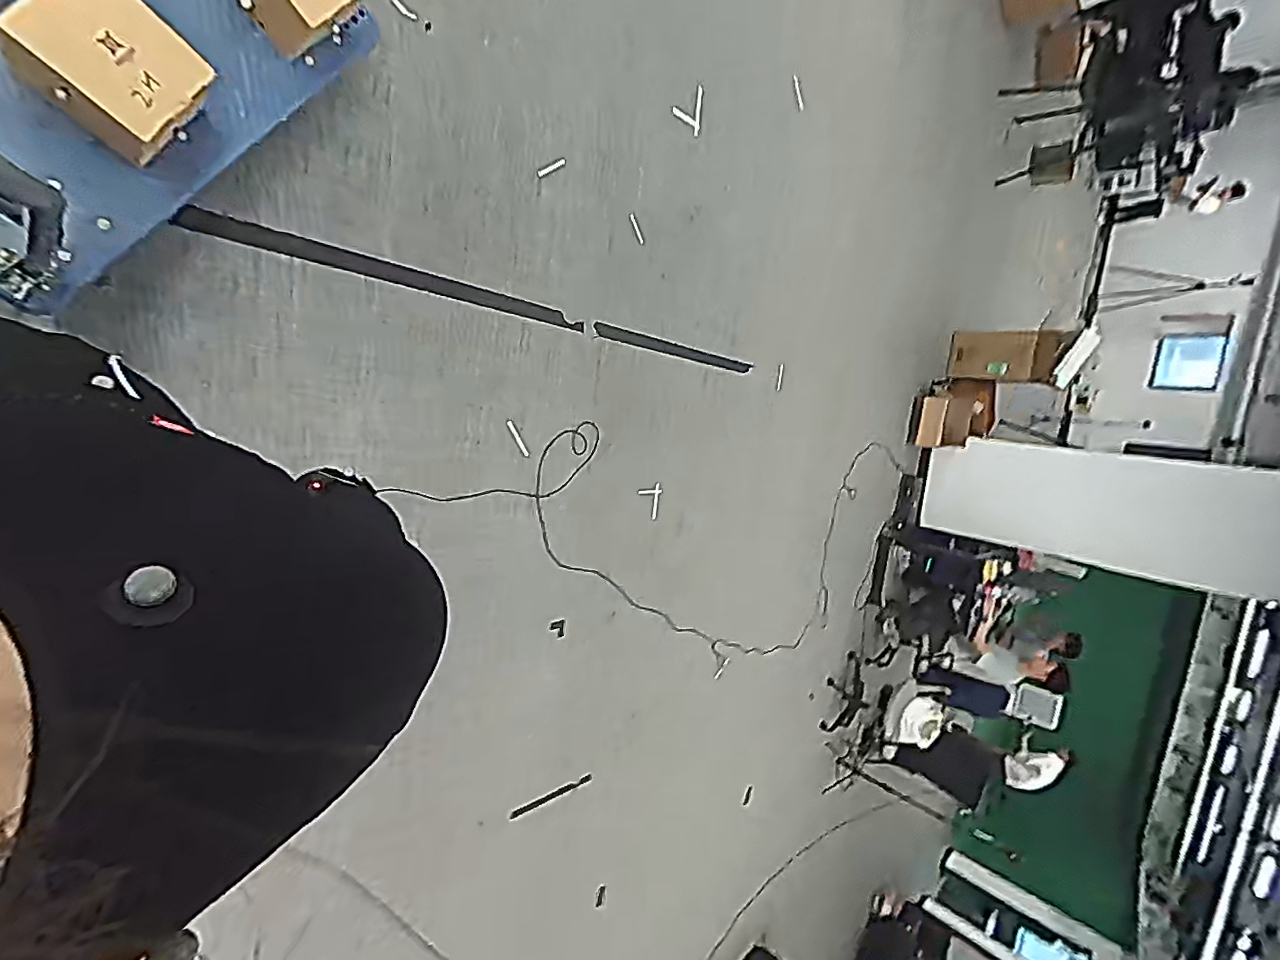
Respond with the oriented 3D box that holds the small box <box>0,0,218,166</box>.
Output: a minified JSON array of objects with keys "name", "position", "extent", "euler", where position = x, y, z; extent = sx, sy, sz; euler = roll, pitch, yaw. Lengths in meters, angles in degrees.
[{"name":"small box","position":[-0.809,-0.627,0.833],"extent":[0.179,0.176,0.168],"euler":[44,68,-42]}]

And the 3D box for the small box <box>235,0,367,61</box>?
[{"name":"small box","position":[-0.618,-0.904,0.966],"extent":[0.179,0.176,0.168],"euler":[-57,133,-19]}]
